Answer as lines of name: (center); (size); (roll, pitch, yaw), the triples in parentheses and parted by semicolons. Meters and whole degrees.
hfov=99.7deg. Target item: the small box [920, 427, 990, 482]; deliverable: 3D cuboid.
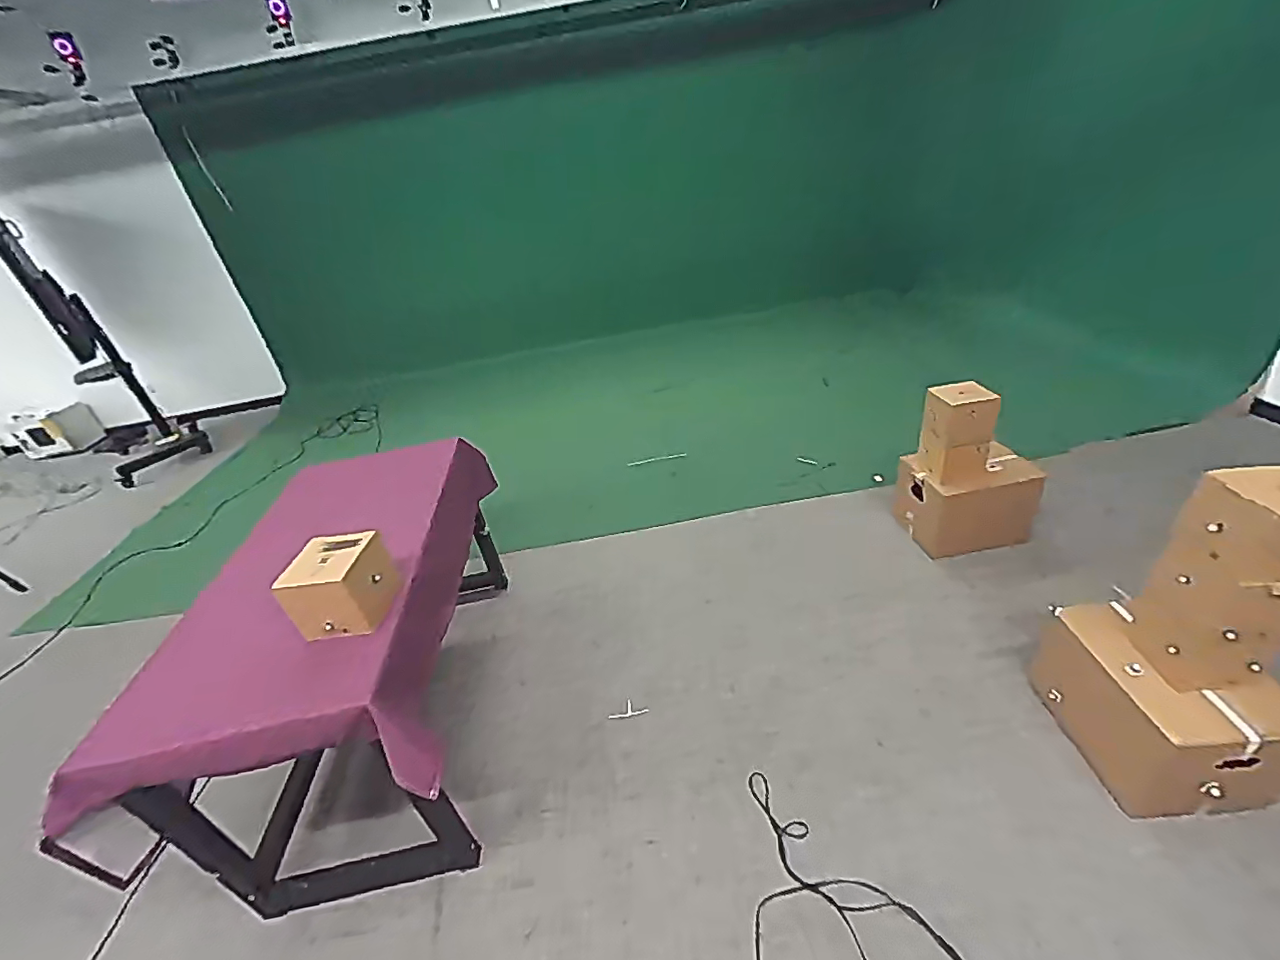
small box: (1.195, -0.105, 2.067); (0.179, 0.176, 0.168); (-9, 31, 1)

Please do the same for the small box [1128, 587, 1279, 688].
small box: (1.308, 0.368, 1.263); (0.168, 0.176, 0.179); (-4, 31, 7)

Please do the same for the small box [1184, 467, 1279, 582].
small box: (1.267, 0.090, 1.092); (0.179, 0.176, 0.168); (-4, 32, 7)

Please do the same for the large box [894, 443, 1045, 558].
large box: (1.316, 0.079, 2.203); (0.408, 0.320, 0.320); (-10, 31, -1)

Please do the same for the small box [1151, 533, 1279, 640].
small box: (1.284, 0.231, 1.175); (0.168, 0.176, 0.179); (-3, 31, 8)

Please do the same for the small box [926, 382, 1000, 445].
small box: (1.169, -0.240, 1.974); (0.179, 0.176, 0.168); (-9, 31, 1)
